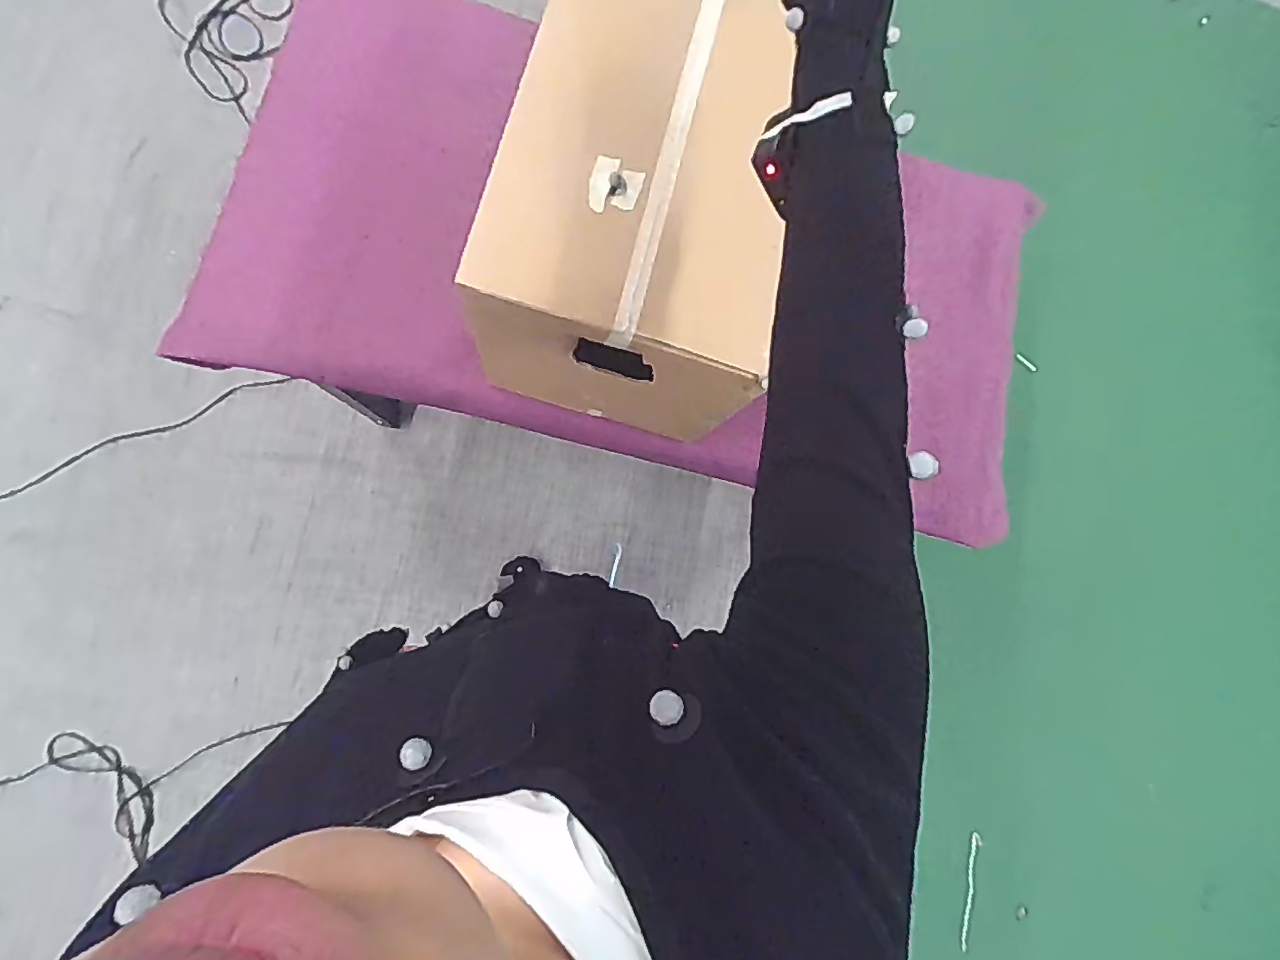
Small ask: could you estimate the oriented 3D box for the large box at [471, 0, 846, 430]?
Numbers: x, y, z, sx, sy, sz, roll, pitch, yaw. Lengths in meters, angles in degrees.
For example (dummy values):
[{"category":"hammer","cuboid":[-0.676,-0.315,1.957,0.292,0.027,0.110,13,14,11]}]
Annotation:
[{"category":"large box","cuboid":[0.009,-0.317,0.688,0.320,0.320,0.408,16,82,-7]}]
